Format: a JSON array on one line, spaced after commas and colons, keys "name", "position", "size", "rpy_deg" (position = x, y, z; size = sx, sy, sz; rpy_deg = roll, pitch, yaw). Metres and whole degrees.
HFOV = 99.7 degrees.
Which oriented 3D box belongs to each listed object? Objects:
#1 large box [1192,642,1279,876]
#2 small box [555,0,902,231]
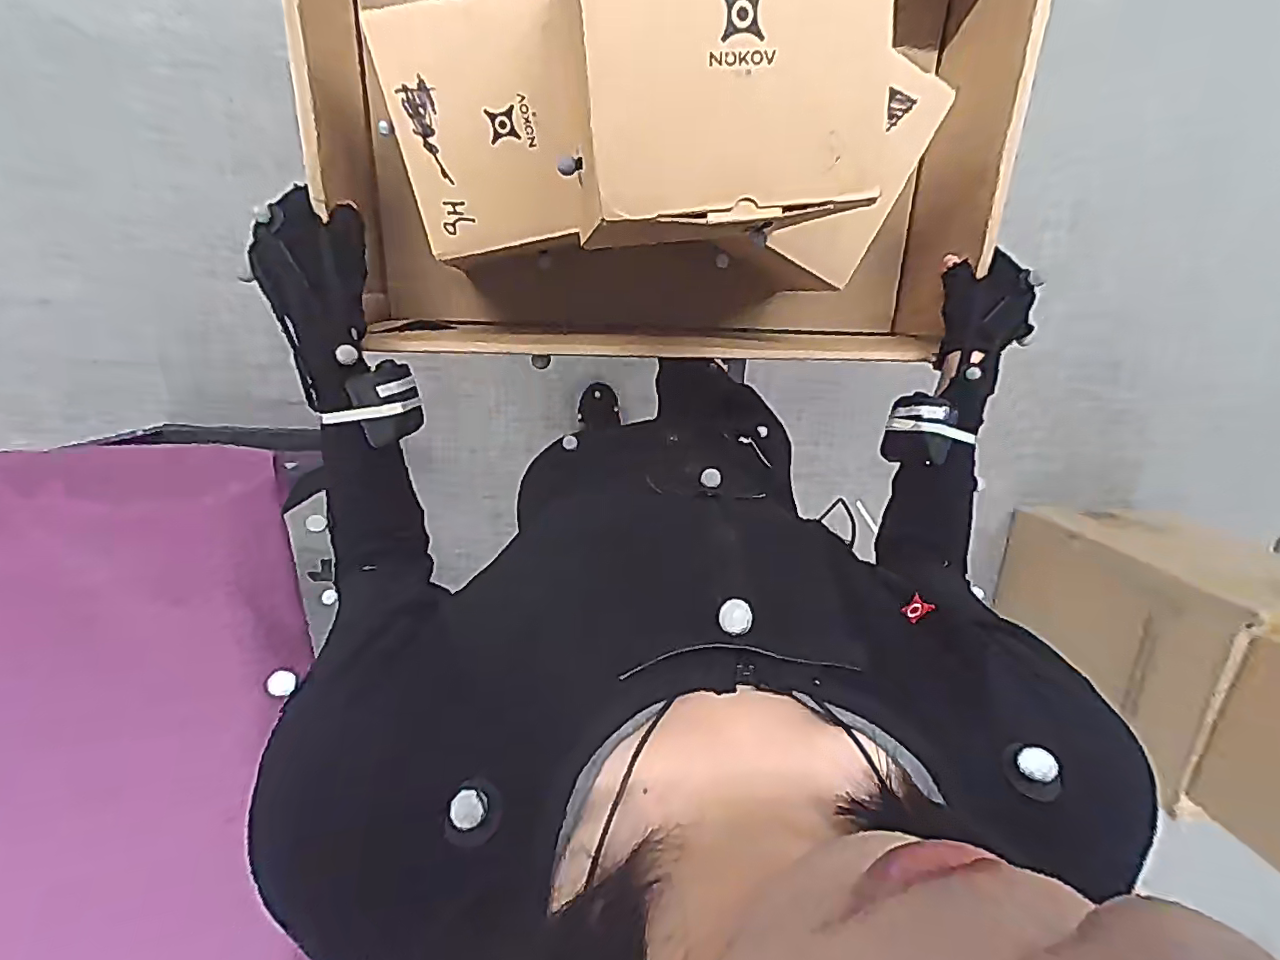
[{"name": "large box", "position": [1.335, 0.543, 0.962], "size": [0.320, 0.320, 0.408], "rpy_deg": [4, 106, -4]}, {"name": "small box", "position": [0.039, -0.260, 0.340], "size": [0.168, 0.176, 0.179], "rpy_deg": [-9, 109, -7]}]
